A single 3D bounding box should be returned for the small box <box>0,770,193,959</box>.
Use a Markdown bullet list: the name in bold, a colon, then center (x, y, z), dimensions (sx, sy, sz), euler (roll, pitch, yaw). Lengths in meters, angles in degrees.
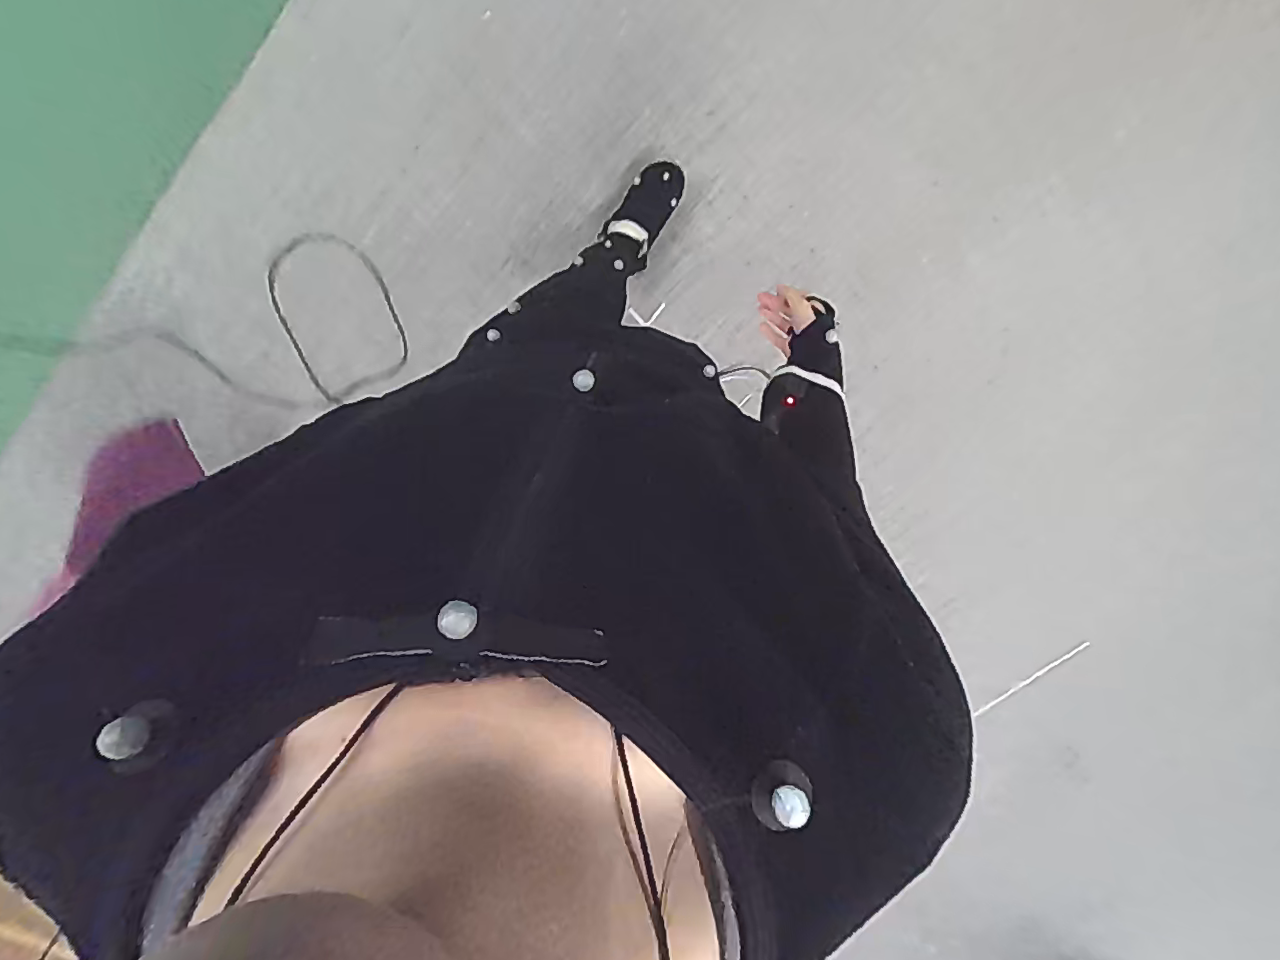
- **small box**: center (-0.735, 0.521, 0.692), dimensions (0.168, 0.176, 0.179), euler (38, 108, -15)
